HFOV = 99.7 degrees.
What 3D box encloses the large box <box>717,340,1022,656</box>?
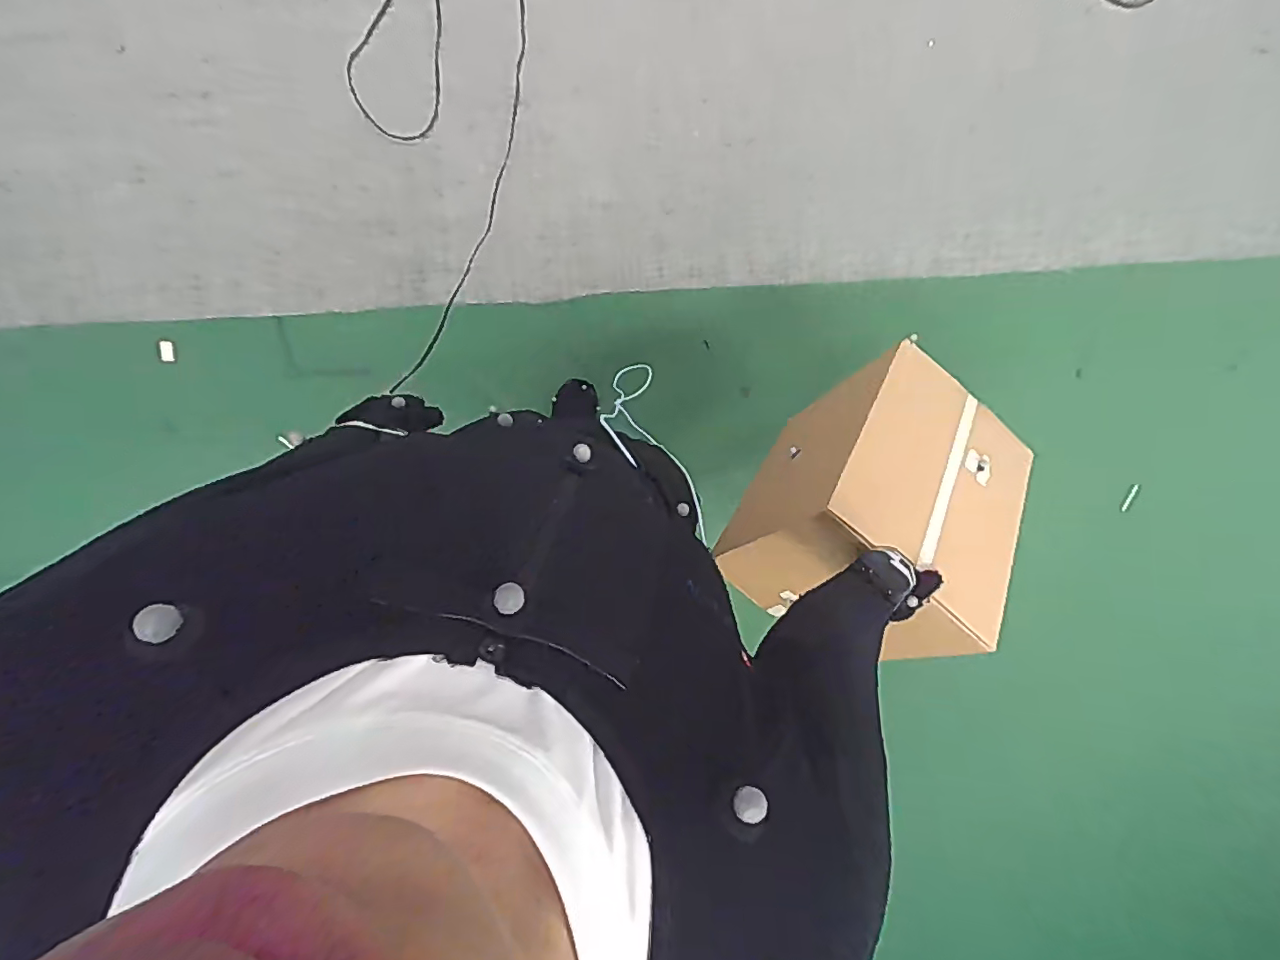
[{"bbox_3d":[0.400,0.045,0.958,0.320,0.320,0.408,39,58,-7],"label":"large box"}]
